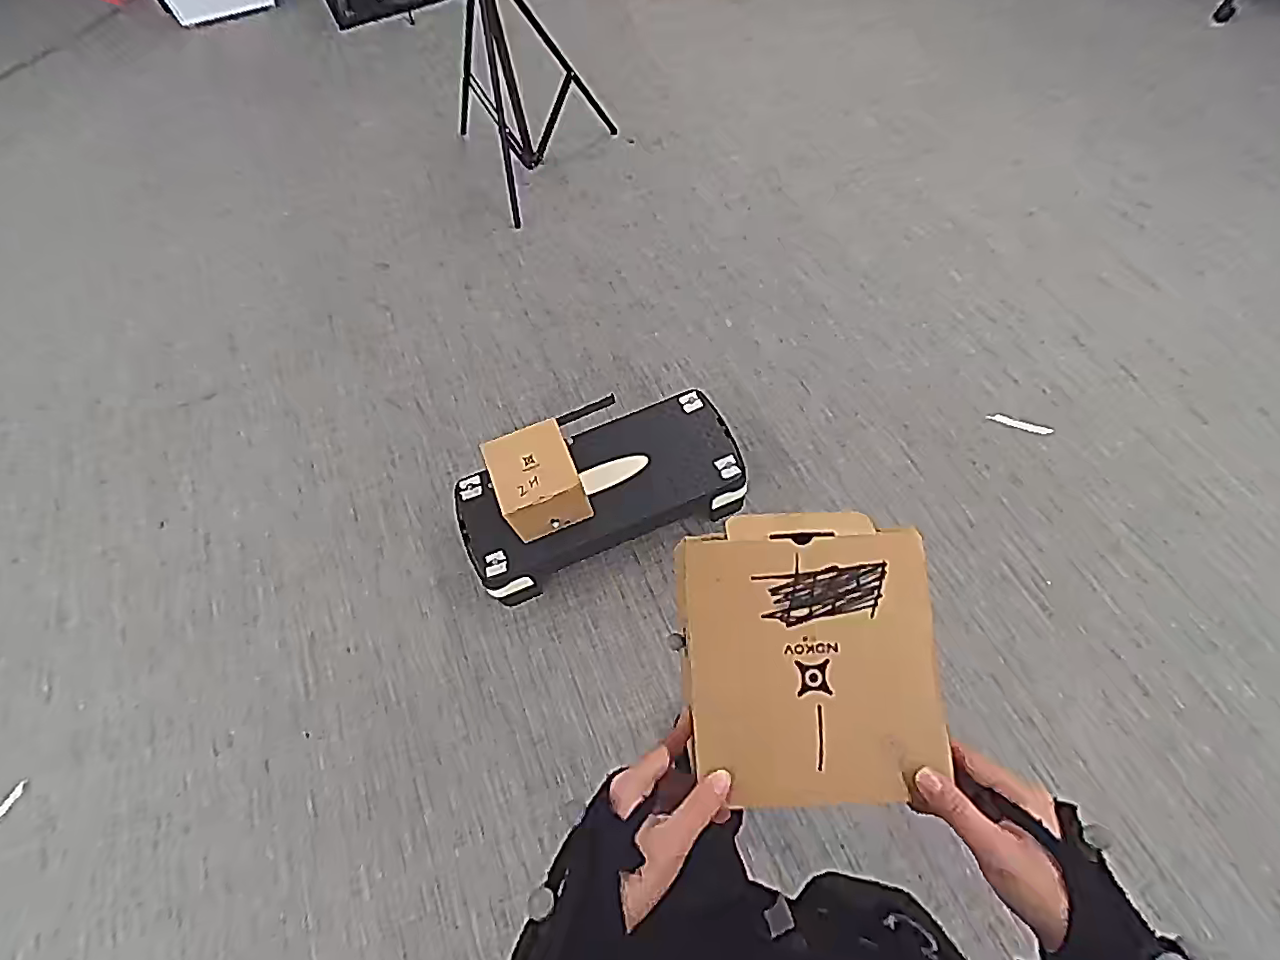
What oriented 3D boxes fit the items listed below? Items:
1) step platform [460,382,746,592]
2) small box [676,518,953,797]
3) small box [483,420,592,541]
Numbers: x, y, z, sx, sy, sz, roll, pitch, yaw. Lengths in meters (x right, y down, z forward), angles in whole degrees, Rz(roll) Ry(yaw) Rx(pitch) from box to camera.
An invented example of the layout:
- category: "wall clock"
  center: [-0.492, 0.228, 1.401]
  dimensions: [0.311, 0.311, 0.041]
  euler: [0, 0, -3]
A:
- category: "step platform"
  center: [-0.087, 0.013, 1.339]
  dimensions: [0.684, 0.204, 0.286]
  euler: [-23, 65, -6]
- category: "small box"
  center: [0.117, 0.129, 0.439]
  dimensions: [0.168, 0.176, 0.179]
  euler: [-3, 81, 1]
- category: "small box"
  center: [-0.215, 0.006, 1.159]
  dimensions: [0.168, 0.176, 0.179]
  euler: [-22, 65, -6]
